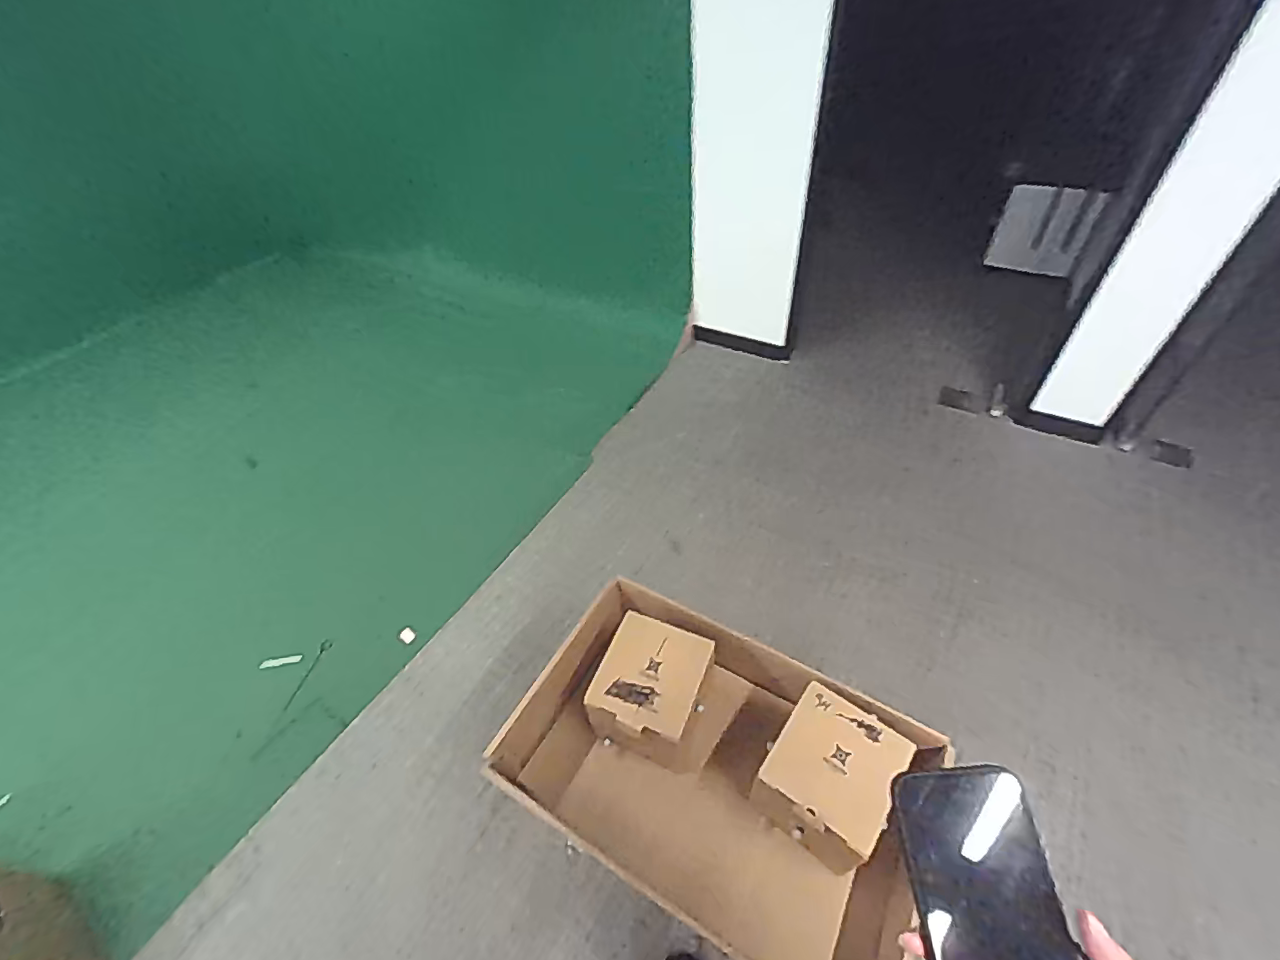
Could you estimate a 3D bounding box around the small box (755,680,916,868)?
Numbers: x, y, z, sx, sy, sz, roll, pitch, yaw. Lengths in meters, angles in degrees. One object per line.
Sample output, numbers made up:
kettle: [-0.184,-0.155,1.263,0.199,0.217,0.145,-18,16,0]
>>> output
small box: [0.289,0.453,0.829,0.168,0.176,0.179,28,57,28]
